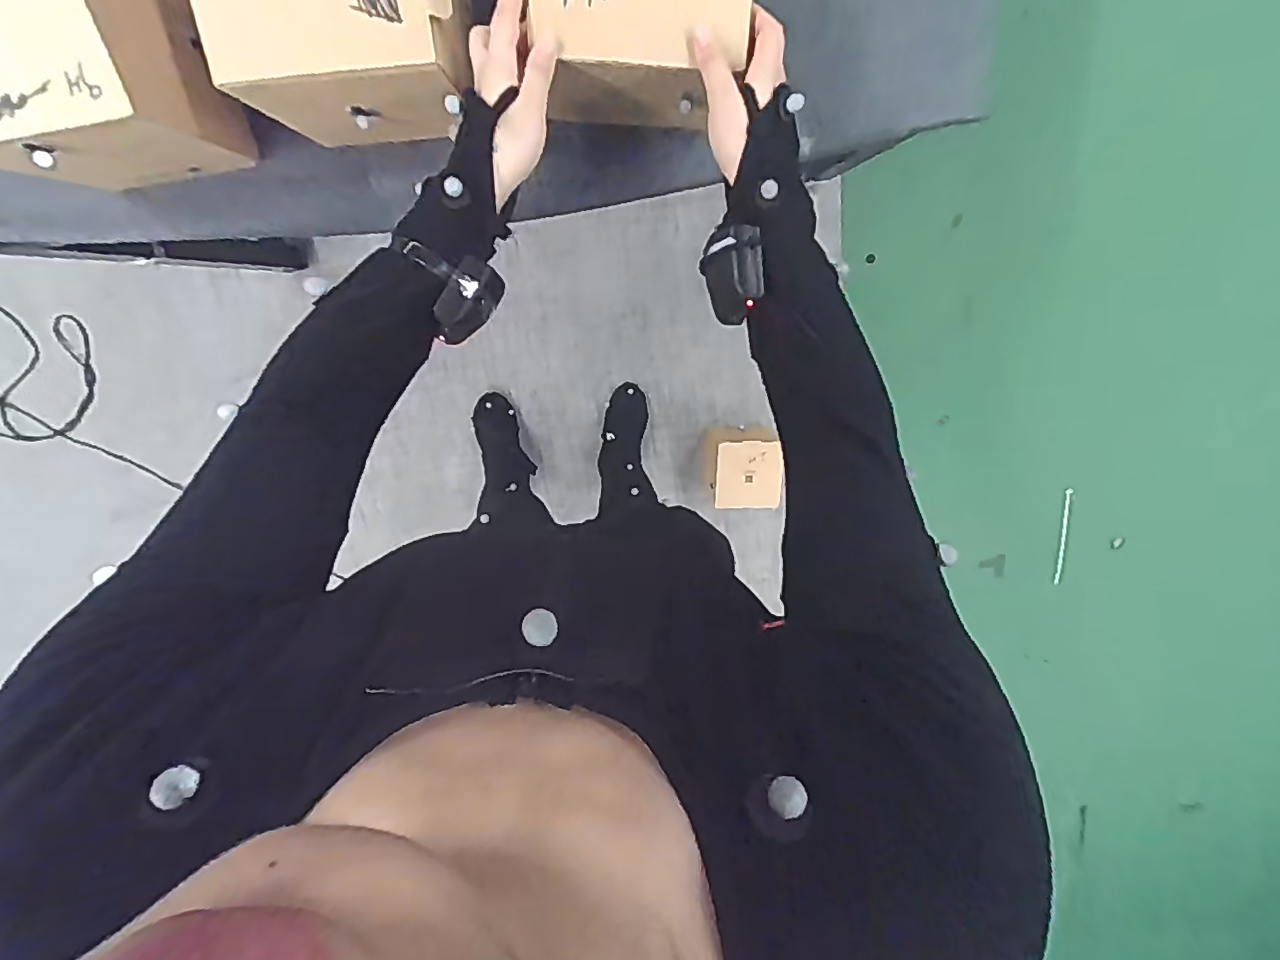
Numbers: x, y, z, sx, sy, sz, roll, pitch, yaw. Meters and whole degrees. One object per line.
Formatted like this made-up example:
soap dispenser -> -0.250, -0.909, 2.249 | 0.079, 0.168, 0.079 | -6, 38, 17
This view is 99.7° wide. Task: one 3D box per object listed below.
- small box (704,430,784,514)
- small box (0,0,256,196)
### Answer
small box -> 0.260, -0.024, 1.394 | 0.168, 0.176, 0.179 | 0, 109, -3
small box -> -0.487, -0.367, 0.466 | 0.168, 0.176, 0.179 | -9, 109, 1
